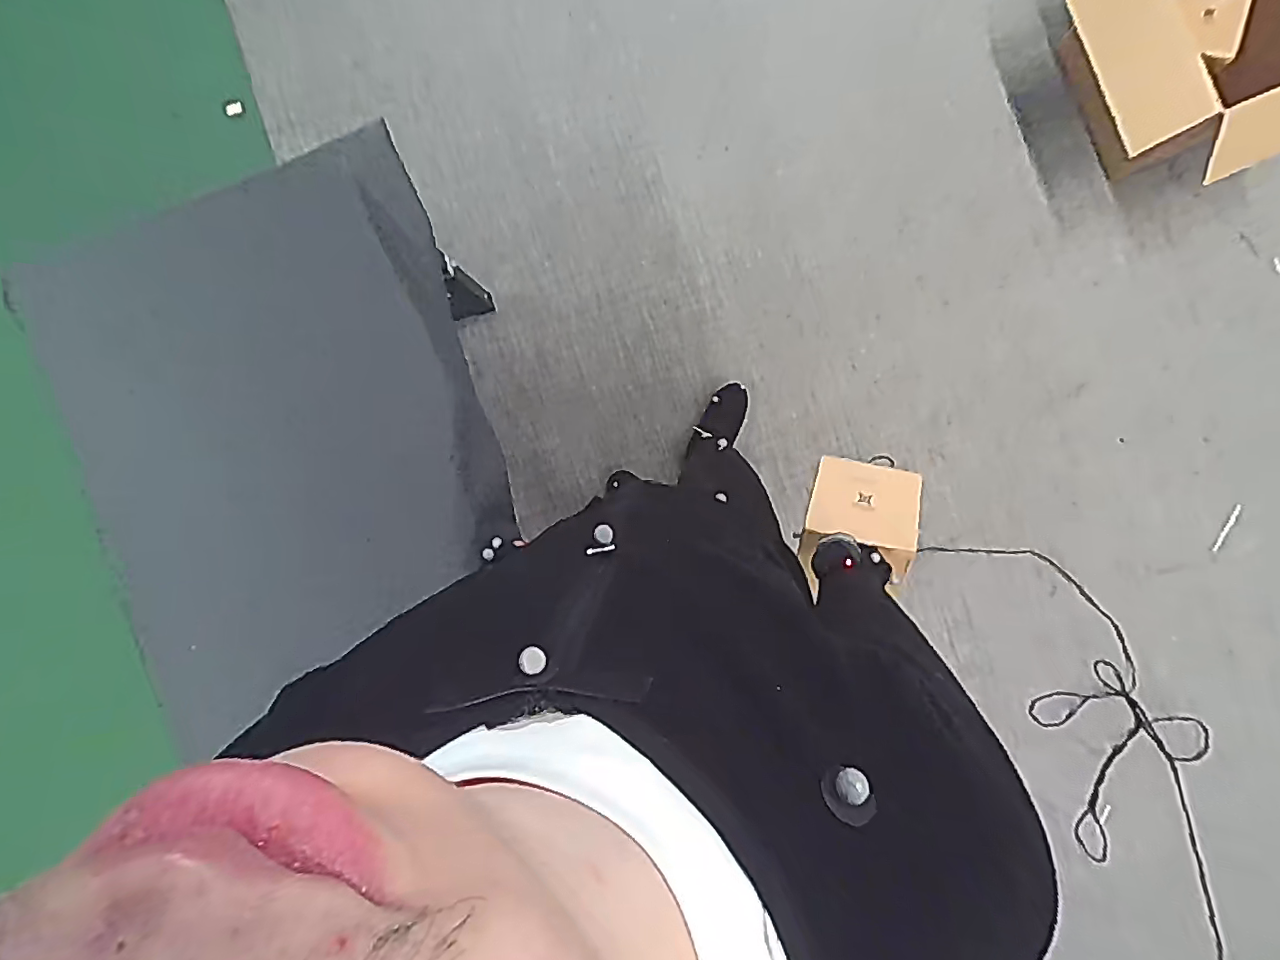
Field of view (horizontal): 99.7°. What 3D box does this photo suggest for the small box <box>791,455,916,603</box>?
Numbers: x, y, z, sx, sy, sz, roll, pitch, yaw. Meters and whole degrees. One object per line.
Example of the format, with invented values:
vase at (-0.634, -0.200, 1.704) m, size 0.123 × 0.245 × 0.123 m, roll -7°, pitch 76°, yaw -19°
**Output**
small box at (0.366, 0.087, 0.939) m, size 0.168 × 0.179 × 0.176 m, roll 13°, pitch 138°, yaw 17°
